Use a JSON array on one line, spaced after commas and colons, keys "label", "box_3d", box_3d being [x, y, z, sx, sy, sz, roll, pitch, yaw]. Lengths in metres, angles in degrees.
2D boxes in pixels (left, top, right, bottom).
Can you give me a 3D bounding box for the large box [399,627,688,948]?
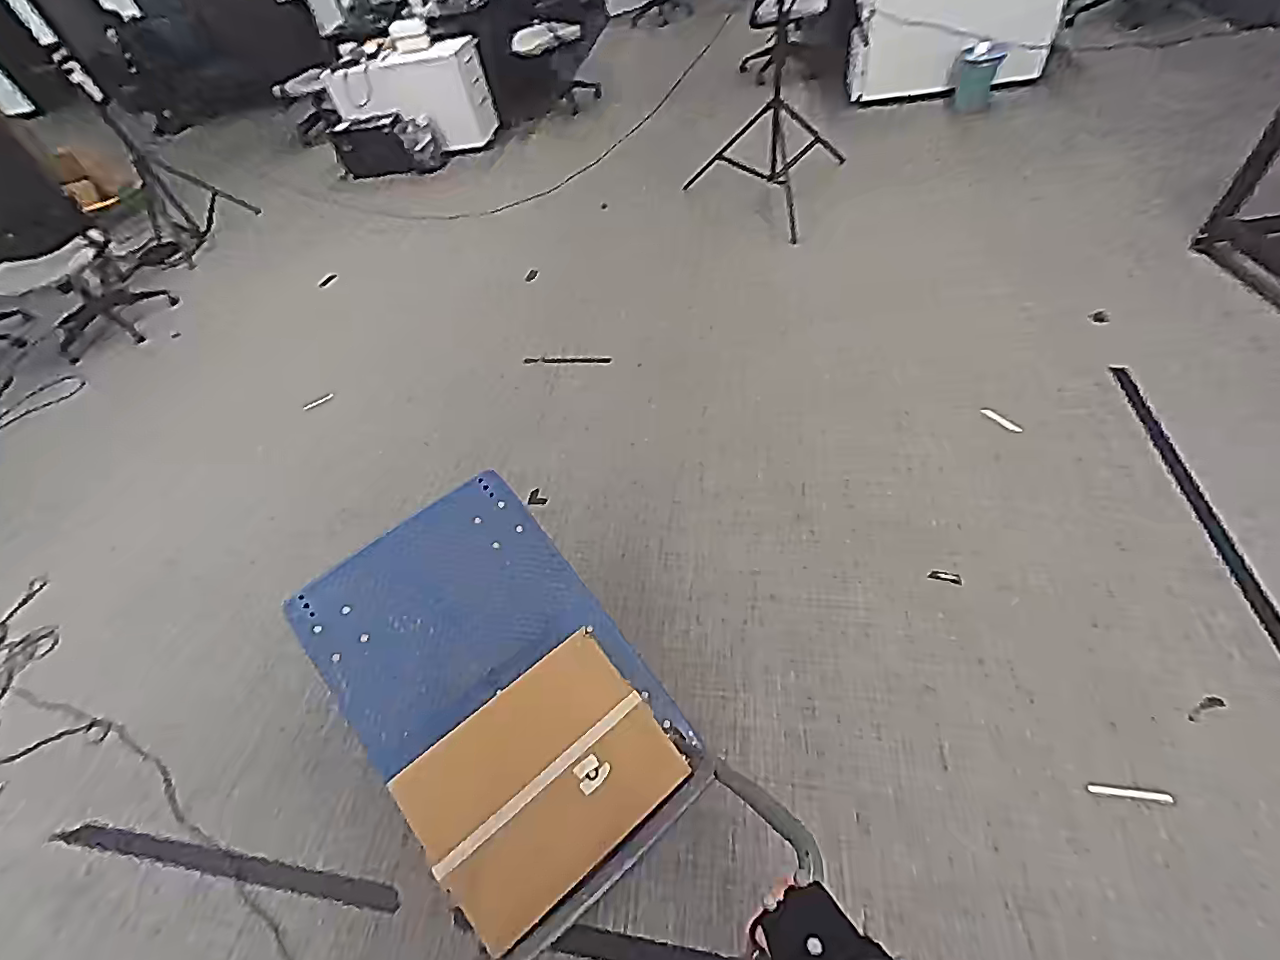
[{"label": "large box", "box_3d": [-0.174, 0.555, 1.061, 0.408, 0.320, 0.320, -37, 78, -18]}]
